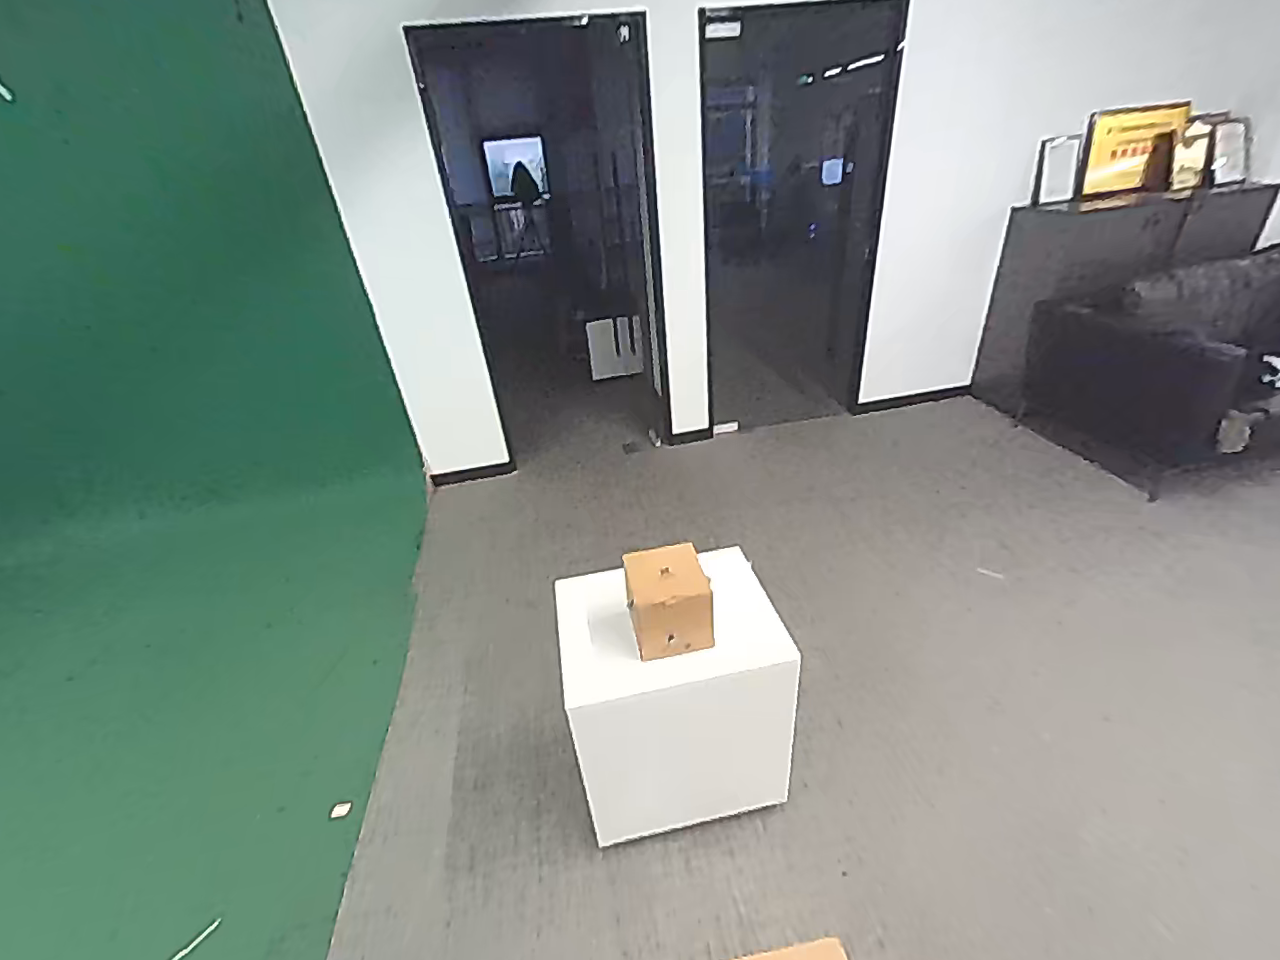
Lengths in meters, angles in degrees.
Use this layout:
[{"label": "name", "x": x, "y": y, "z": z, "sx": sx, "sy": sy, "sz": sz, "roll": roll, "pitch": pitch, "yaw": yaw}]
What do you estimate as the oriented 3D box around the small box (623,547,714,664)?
[{"label": "small box", "x": 0.061, "y": 0.276, "z": 1.202, "sx": 0.168, "sy": 0.176, "sz": 0.179, "roll": -10, "pitch": 30, "yaw": -7}]
